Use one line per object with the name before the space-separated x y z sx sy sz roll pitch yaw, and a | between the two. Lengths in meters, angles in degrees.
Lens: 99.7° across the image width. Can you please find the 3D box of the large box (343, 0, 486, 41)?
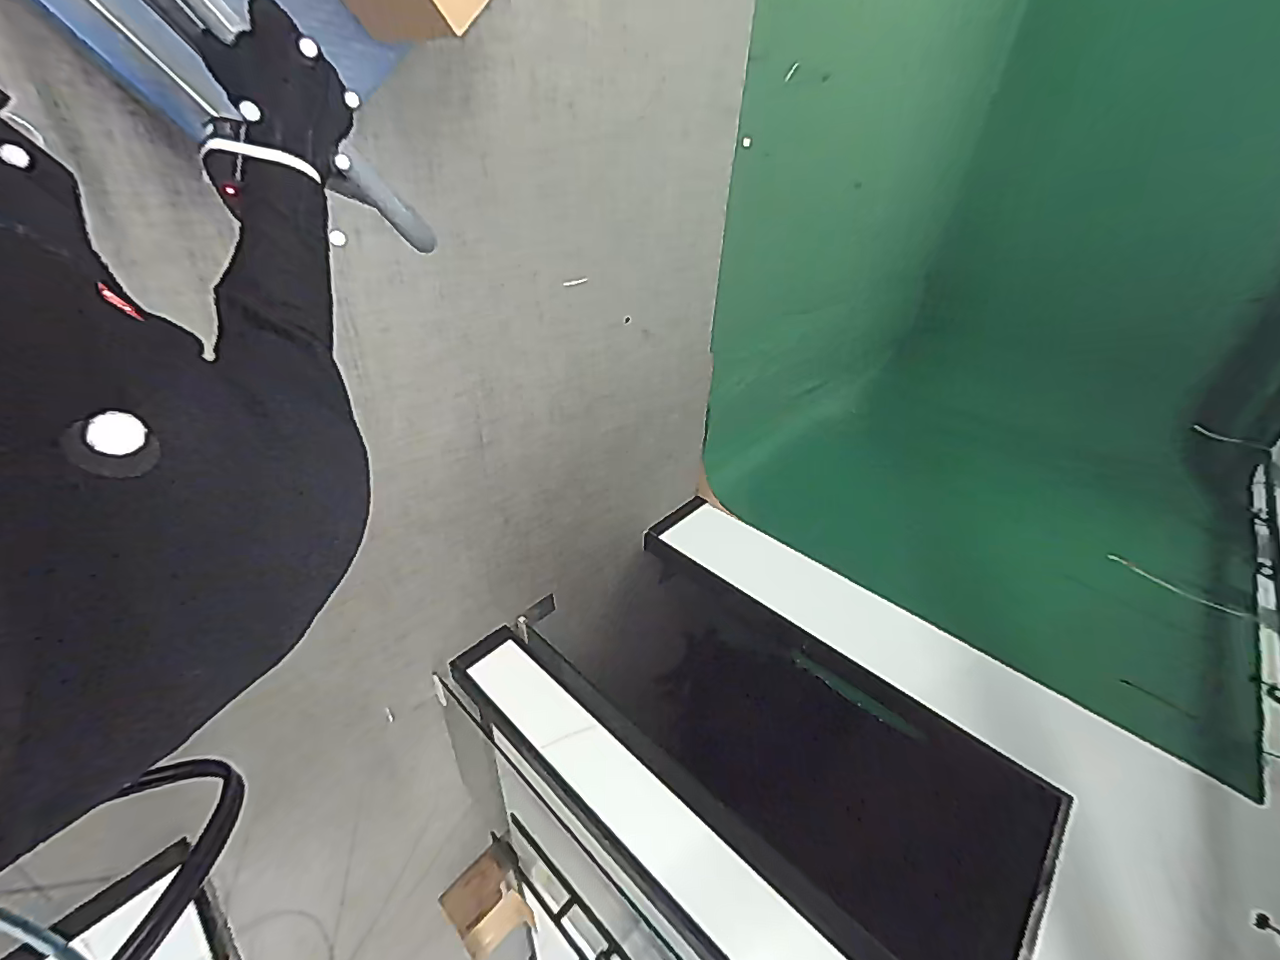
large box | -0.411 -0.984 0.820 0.320 0.320 0.408 -57 146 -4
